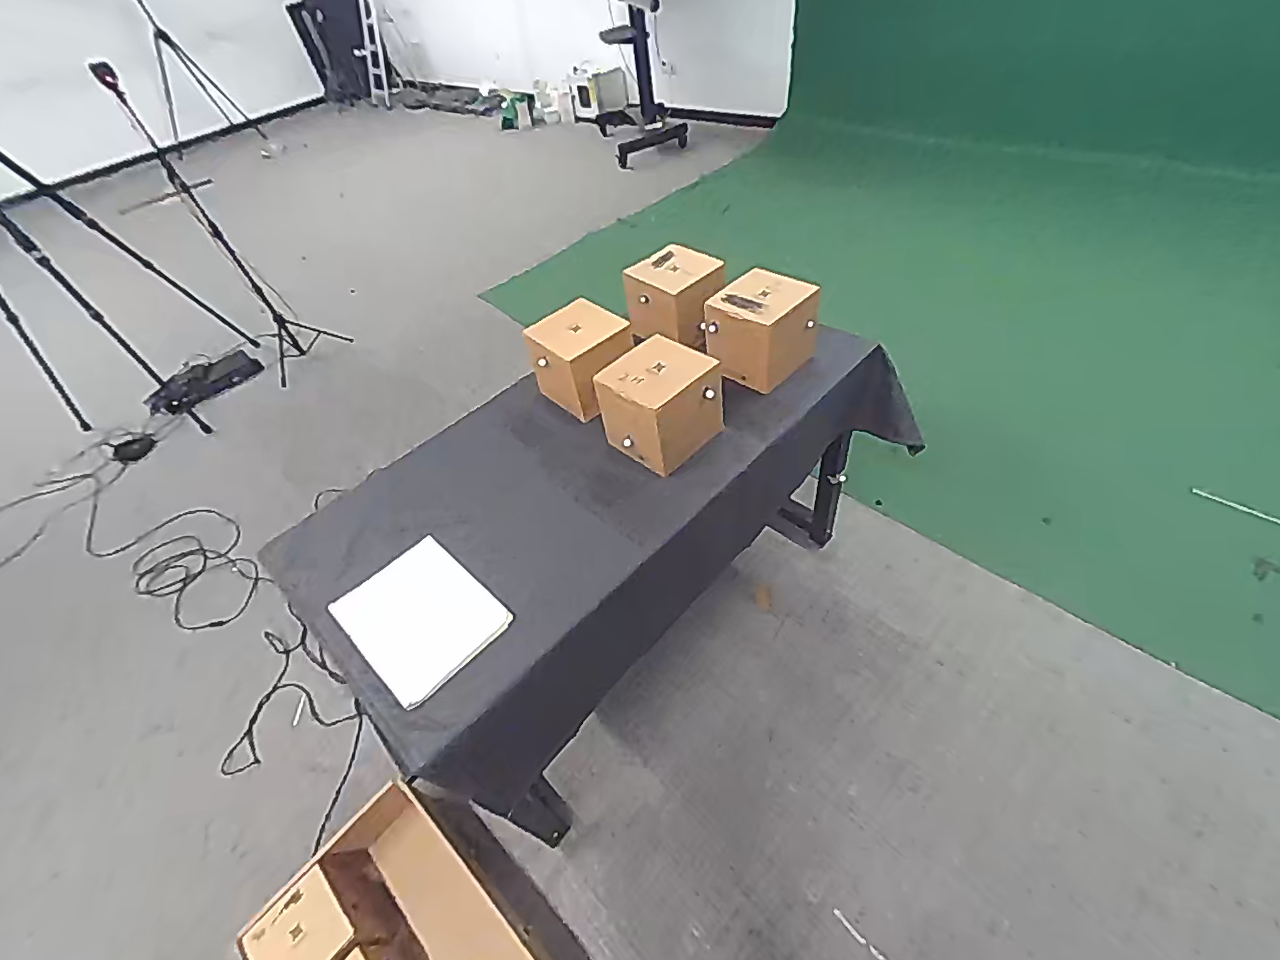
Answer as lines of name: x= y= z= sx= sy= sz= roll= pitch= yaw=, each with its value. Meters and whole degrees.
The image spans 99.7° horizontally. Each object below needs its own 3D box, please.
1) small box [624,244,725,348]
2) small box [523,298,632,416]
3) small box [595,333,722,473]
small box: x=0.086 y=-0.433 z=1.294 sx=0.168 sy=0.176 sz=0.179 roll=-38 pitch=53 yaw=-22
small box: x=-0.123 y=-0.264 z=1.185 sx=0.168 sy=0.176 sz=0.179 roll=-37 pitch=52 yaw=-22
small box: x=0.041 y=-0.149 z=1.044 sx=0.179 sy=0.176 sz=0.168 roll=-40 pitch=52 yaw=-23
